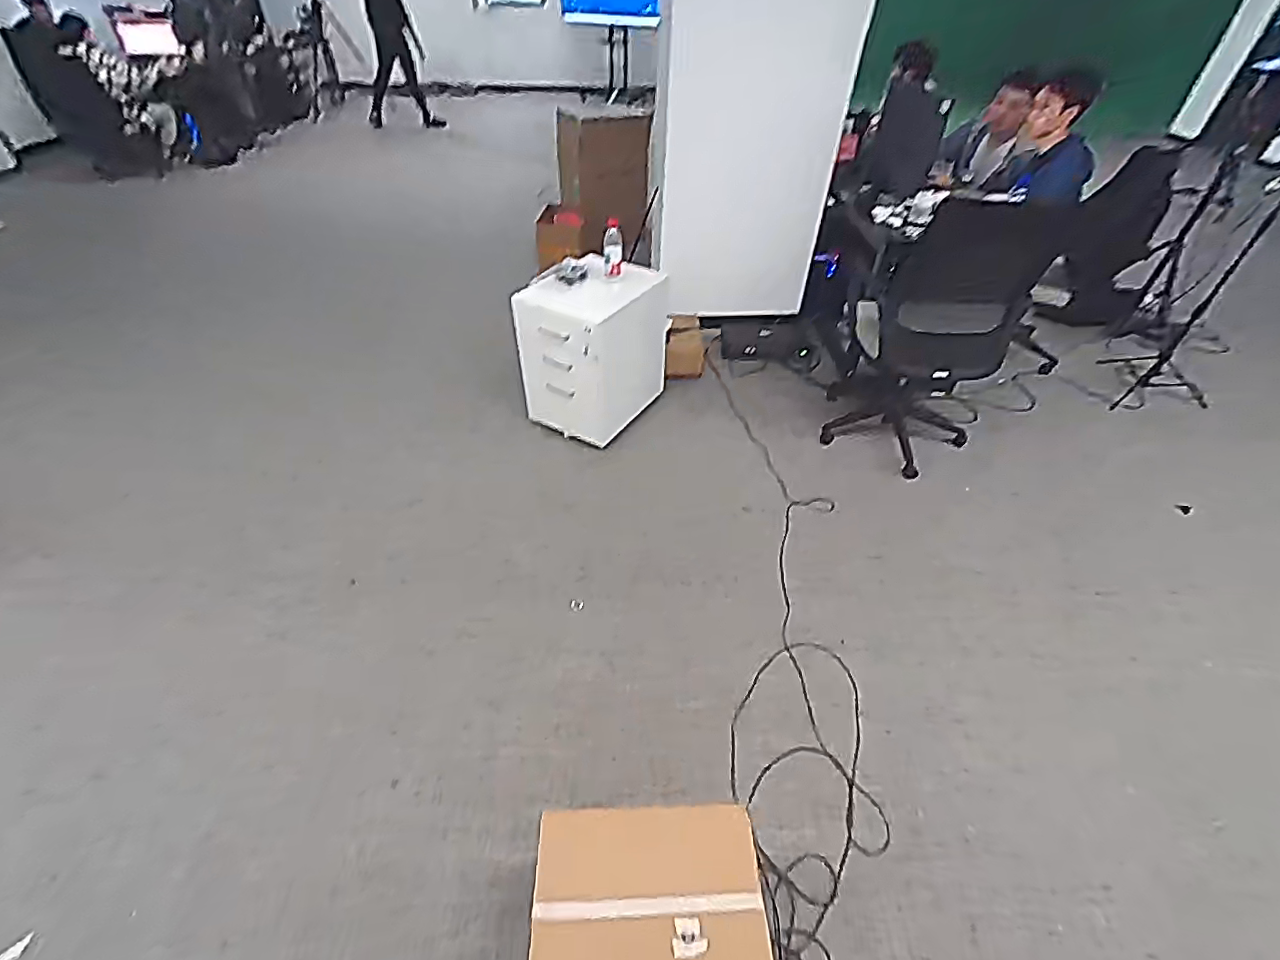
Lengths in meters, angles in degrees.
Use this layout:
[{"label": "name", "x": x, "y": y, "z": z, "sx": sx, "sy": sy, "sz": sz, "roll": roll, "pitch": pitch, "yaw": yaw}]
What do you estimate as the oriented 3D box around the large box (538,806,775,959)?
[{"label": "large box", "x": 0.023, "y": 0.865, "z": 1.048, "sx": 0.408, "sy": 0.320, "sz": 0.320, "roll": -1, "pitch": 42, "yaw": -2}]
